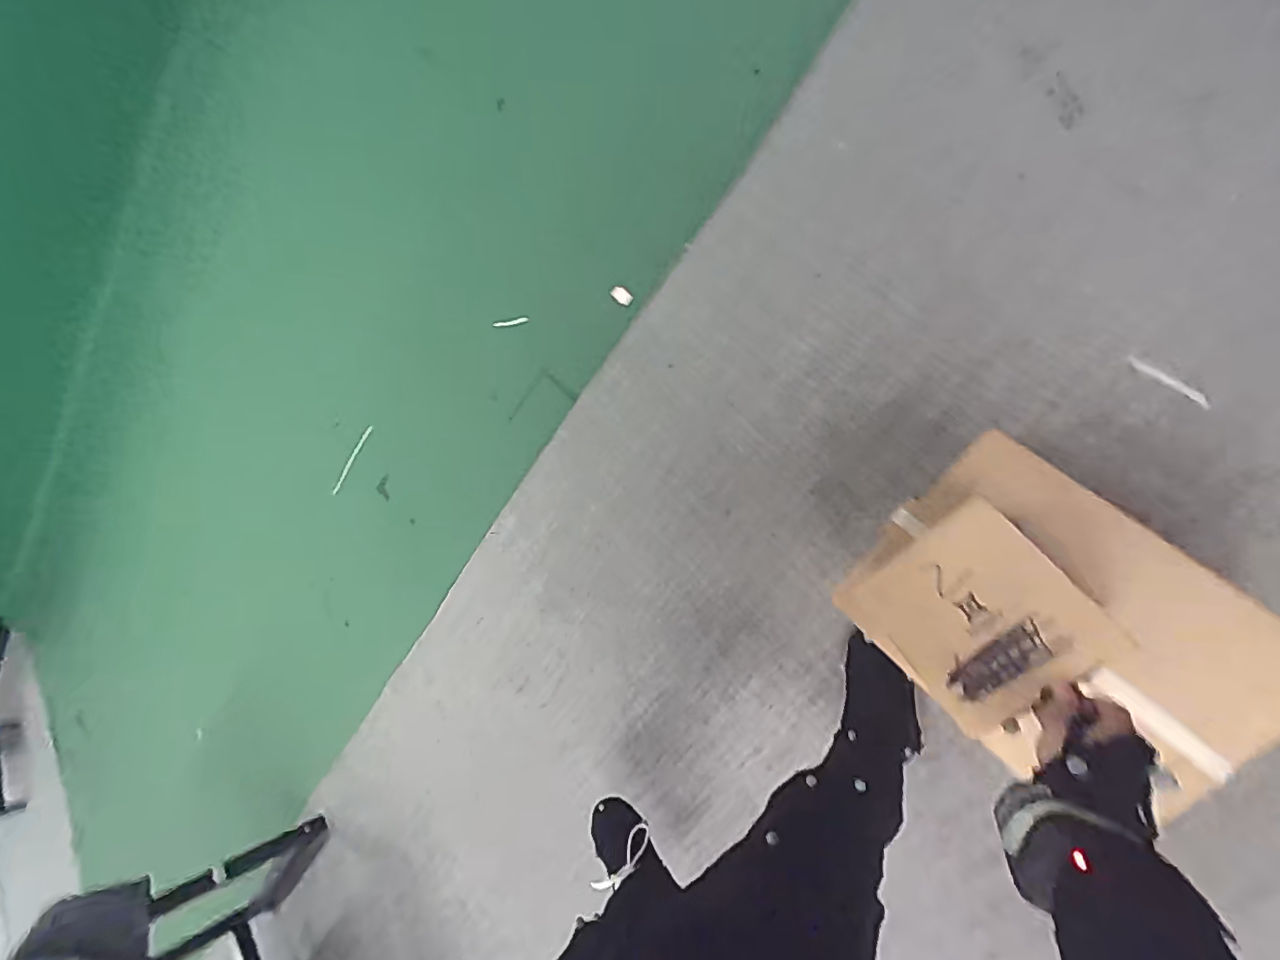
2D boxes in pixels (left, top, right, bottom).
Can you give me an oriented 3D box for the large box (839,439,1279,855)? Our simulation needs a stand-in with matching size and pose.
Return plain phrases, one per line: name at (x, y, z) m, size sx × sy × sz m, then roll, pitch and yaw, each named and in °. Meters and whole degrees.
large box at (0.566, 0.191, 0.773) m, size 0.408 × 0.320 × 0.320 m, roll 45°, pitch 110°, yaw 24°
